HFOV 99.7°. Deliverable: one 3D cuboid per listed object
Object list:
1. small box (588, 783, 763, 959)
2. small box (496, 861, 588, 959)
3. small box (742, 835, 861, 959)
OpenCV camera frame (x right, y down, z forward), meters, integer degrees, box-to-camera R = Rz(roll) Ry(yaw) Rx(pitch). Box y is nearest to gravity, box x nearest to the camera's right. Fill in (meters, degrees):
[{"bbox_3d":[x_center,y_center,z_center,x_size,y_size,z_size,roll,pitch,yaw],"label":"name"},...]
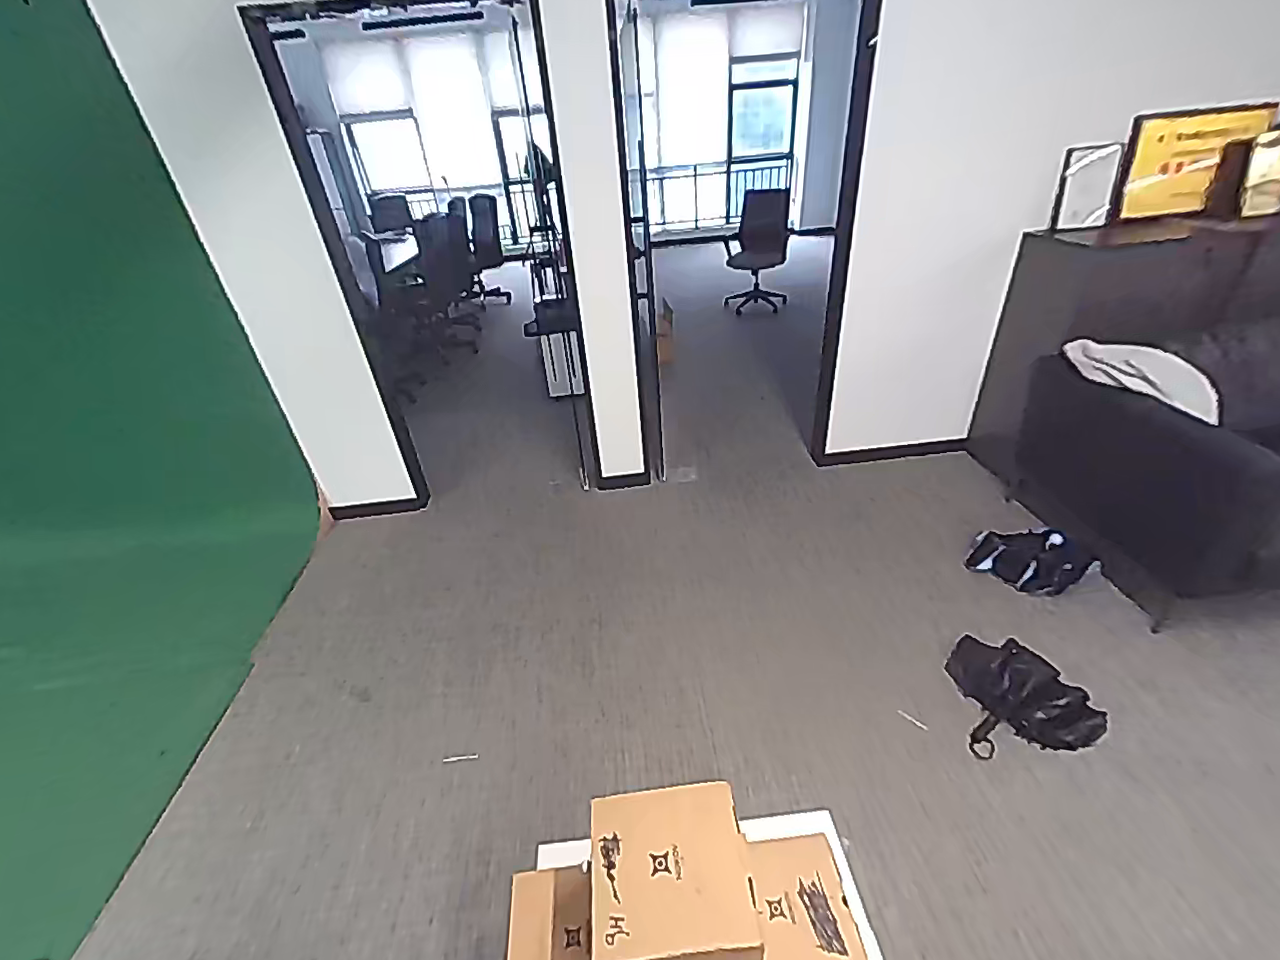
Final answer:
[{"bbox_3d":[0.031,0.488,0.635,0.179,0.176,0.168,-4,32,-3],"label":"small box"},{"bbox_3d":[-0.088,0.636,0.713,0.179,0.176,0.168,-5,31,-5],"label":"small box"},{"bbox_3d":[0.176,0.614,0.730,0.179,0.176,0.168,-5,32,-3],"label":"small box"}]
